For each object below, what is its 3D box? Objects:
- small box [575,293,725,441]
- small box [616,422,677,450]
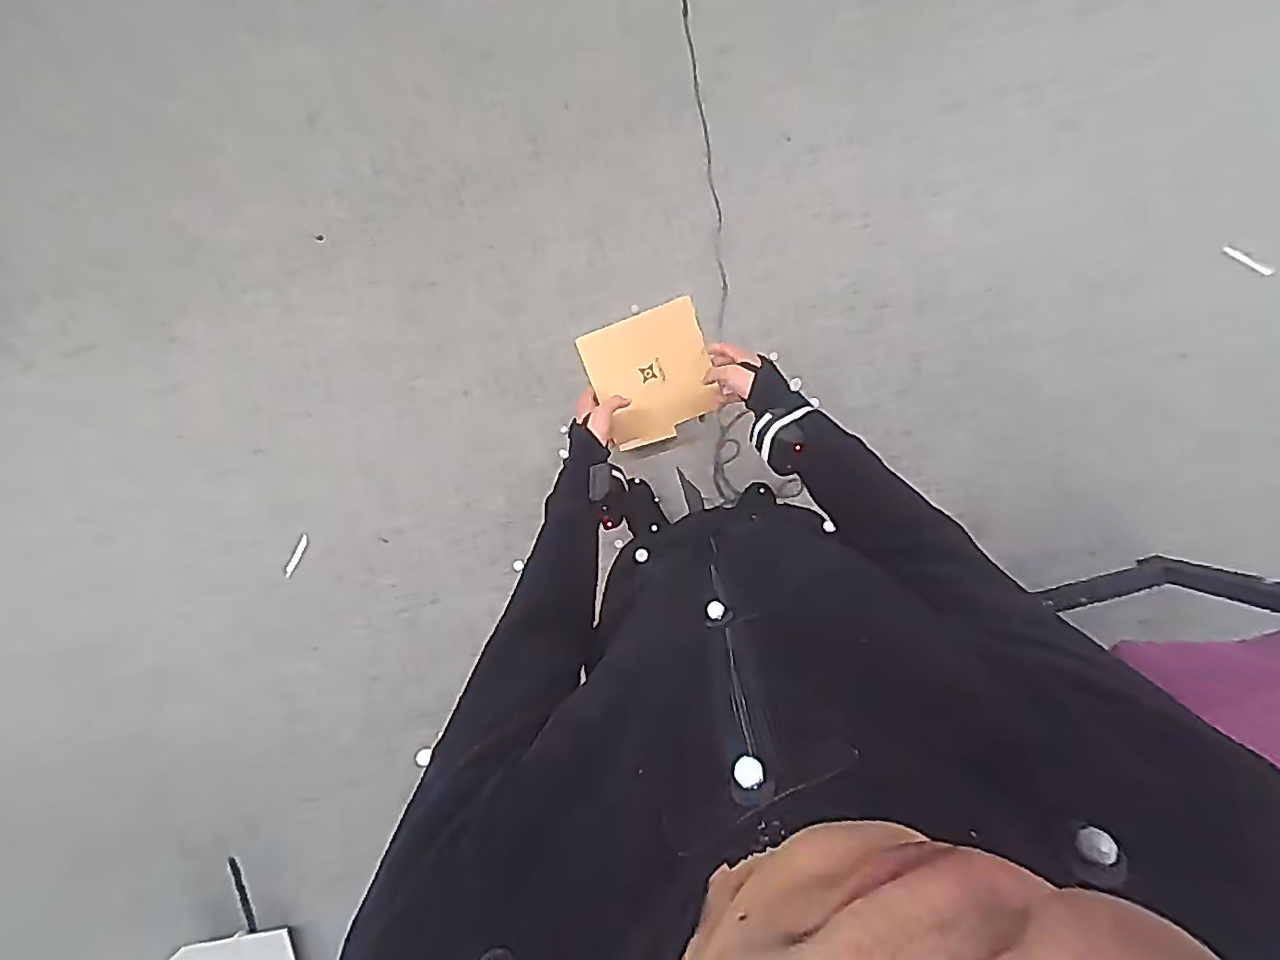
[{"bbox_3d":[0.019,-0.174,0.847,0.179,0.176,0.168,-20,101,6],"label":"small box"},{"bbox_3d":[0.005,-0.189,1.561,0.168,0.176,0.179,-15,91,7],"label":"small box"}]
